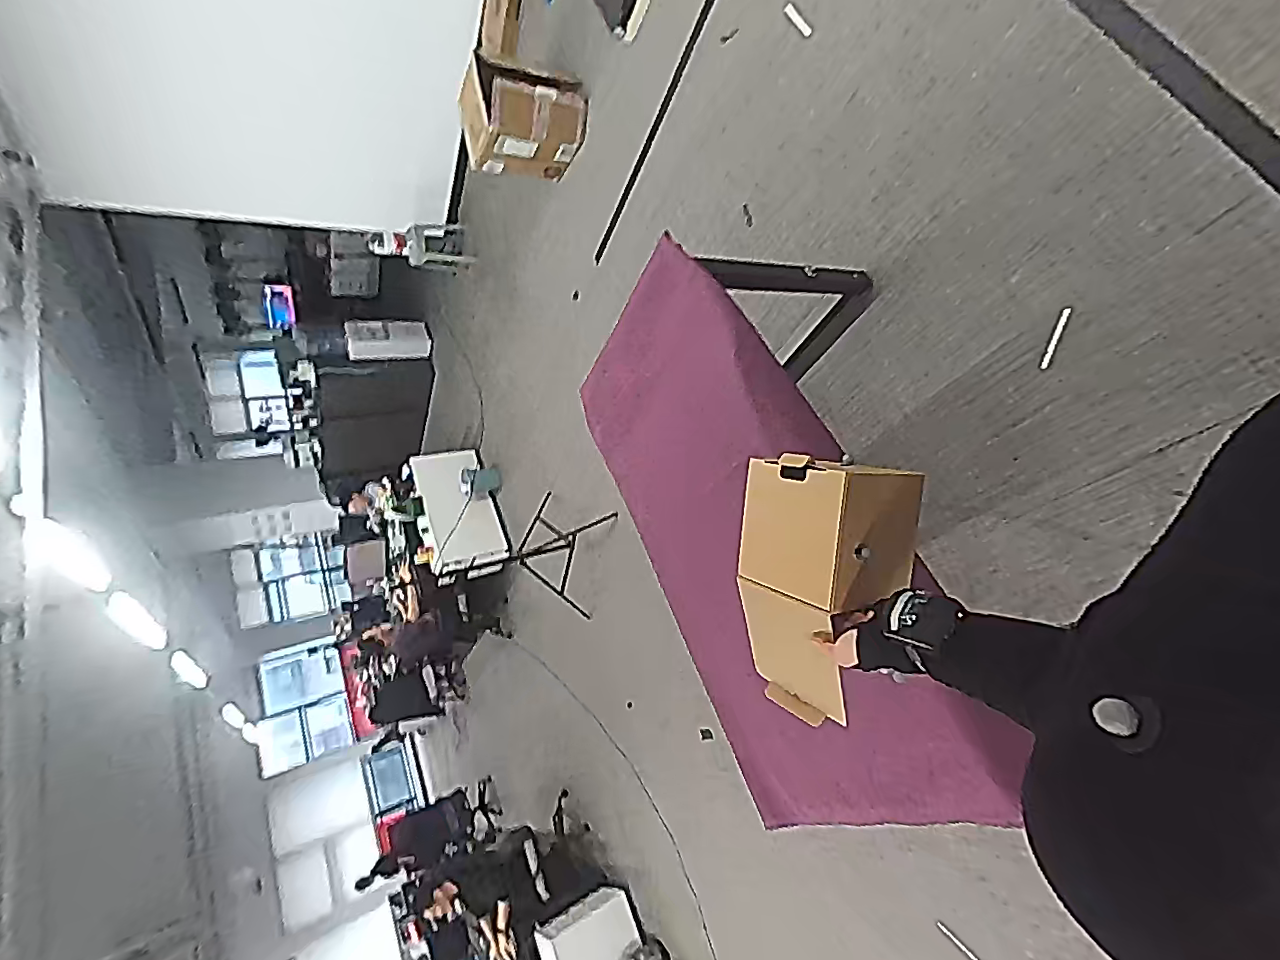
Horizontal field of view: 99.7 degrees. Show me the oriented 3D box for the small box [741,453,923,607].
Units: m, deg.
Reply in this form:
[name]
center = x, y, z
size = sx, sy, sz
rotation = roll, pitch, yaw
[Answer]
[small box]
center = 0.265, 0.059, 0.751
size = 0.168, 0.176, 0.179
rotation = 14, 101, 57
